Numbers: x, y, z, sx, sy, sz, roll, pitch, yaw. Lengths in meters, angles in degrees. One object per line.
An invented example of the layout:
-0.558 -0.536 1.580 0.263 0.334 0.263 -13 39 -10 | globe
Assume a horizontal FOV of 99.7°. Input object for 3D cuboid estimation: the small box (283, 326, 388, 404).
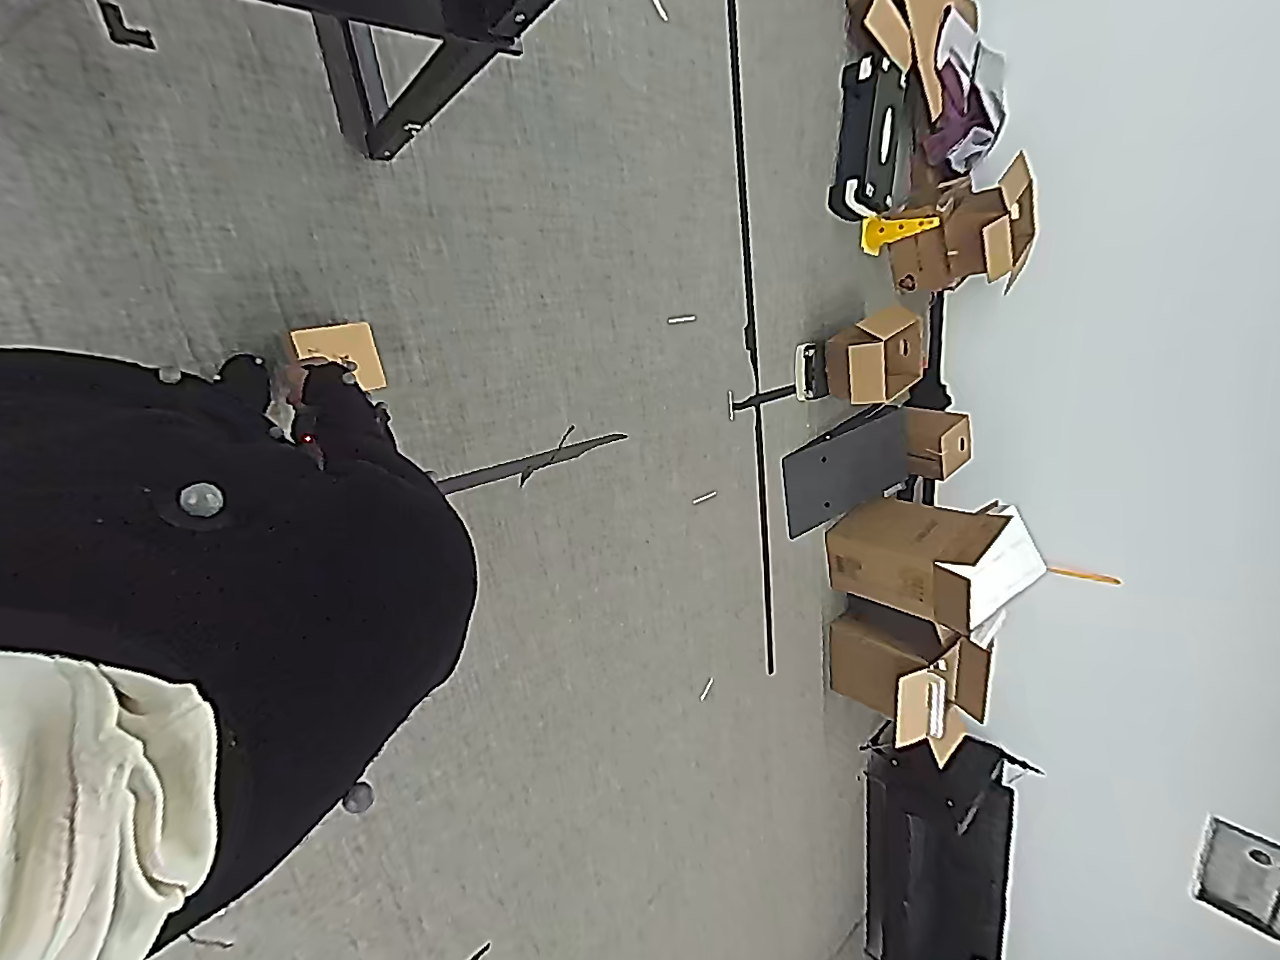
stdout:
-0.774 -0.296 1.372 0.179 0.176 0.168 -22 113 -35 | small box
